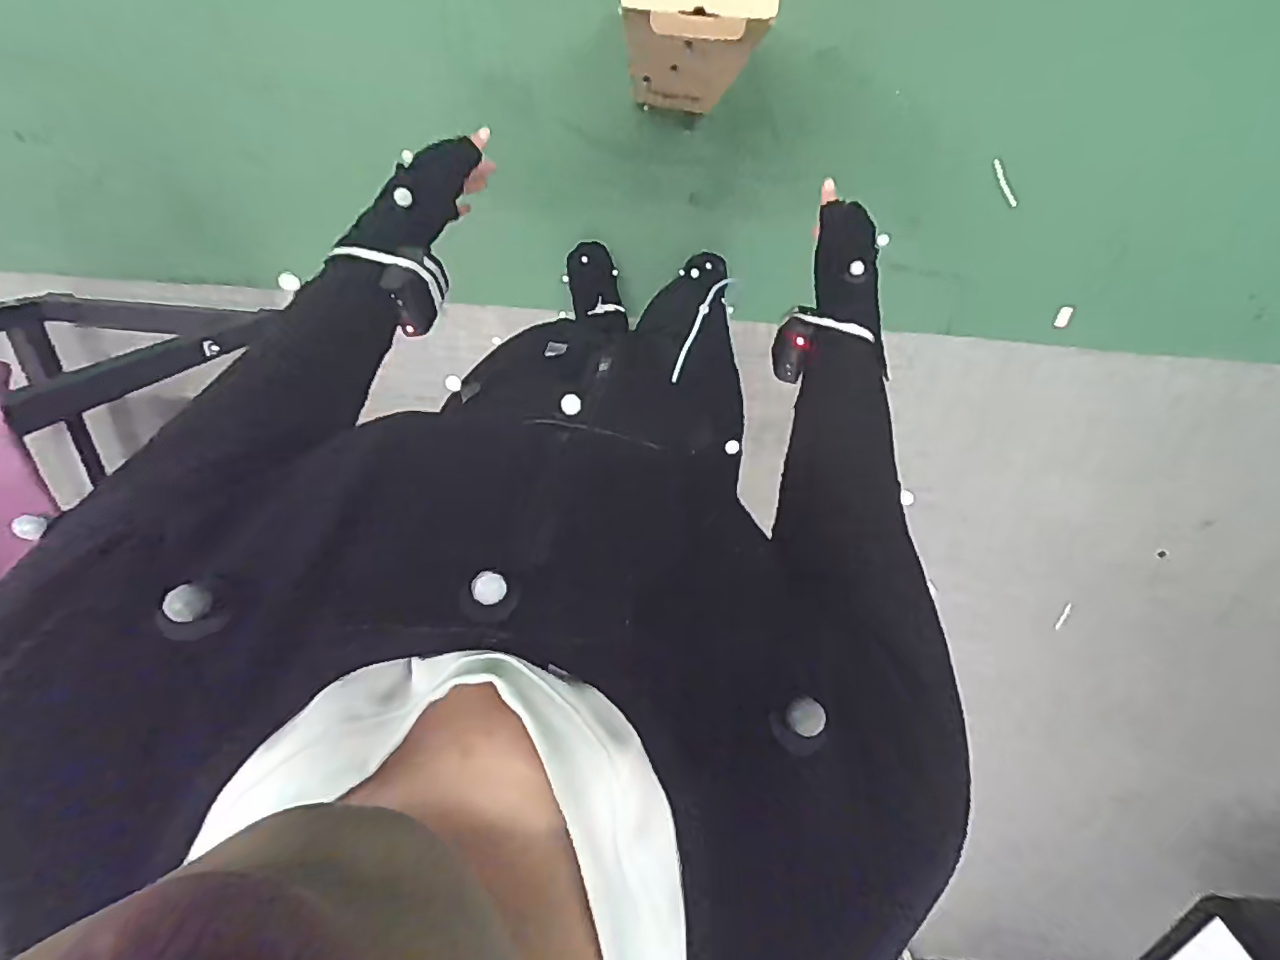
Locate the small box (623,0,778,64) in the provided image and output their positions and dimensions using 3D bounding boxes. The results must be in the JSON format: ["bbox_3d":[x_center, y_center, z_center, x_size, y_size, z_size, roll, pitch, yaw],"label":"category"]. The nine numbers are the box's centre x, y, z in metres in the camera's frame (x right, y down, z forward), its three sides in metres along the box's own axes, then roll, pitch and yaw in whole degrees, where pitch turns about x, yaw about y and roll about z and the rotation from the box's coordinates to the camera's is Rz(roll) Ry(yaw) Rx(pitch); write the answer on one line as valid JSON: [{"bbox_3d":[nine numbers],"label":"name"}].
[{"bbox_3d":[0.068,-0.600,0.606,0.168,0.176,0.179,4,117,-2],"label":"small box"}]

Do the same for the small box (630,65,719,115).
[{"bbox_3d":[0.075,-0.826,1.043,0.168,0.176,0.179,6,117,-3],"label":"small box"}]

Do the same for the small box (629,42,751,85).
[{"bbox_3d":[0.073,-0.678,0.751,0.168,0.176,0.179,4,117,-2],"label":"small box"}]
